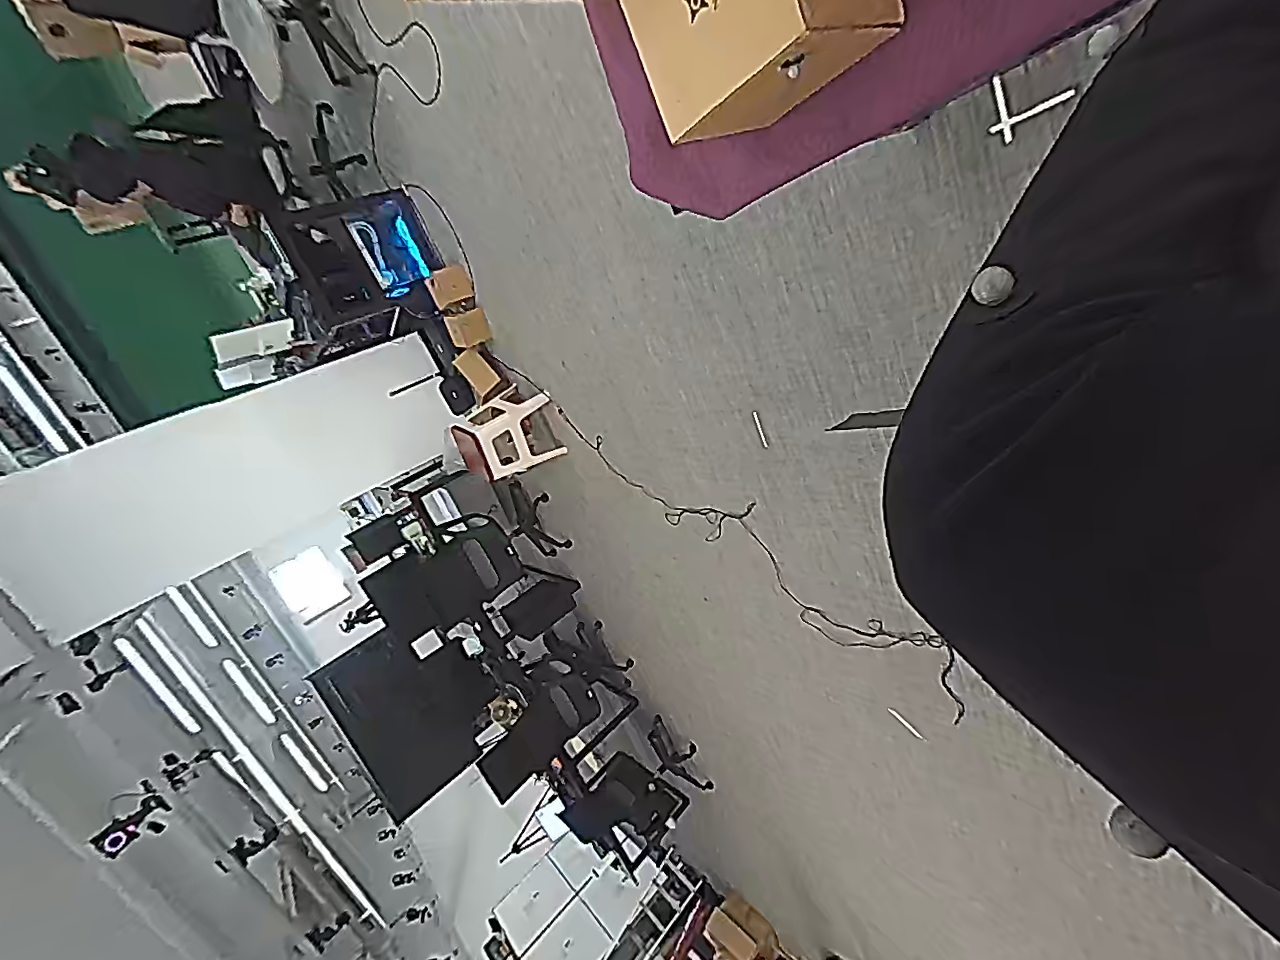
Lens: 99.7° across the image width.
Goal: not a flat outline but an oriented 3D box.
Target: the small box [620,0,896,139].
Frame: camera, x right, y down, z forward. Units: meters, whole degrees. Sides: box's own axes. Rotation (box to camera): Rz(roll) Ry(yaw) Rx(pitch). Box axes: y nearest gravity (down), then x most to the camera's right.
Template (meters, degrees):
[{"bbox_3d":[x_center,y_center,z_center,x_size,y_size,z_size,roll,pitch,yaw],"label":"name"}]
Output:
[{"bbox_3d":[0.109,-0.467,0.522,0.179,0.176,0.168,-4,114,55],"label":"small box"}]
